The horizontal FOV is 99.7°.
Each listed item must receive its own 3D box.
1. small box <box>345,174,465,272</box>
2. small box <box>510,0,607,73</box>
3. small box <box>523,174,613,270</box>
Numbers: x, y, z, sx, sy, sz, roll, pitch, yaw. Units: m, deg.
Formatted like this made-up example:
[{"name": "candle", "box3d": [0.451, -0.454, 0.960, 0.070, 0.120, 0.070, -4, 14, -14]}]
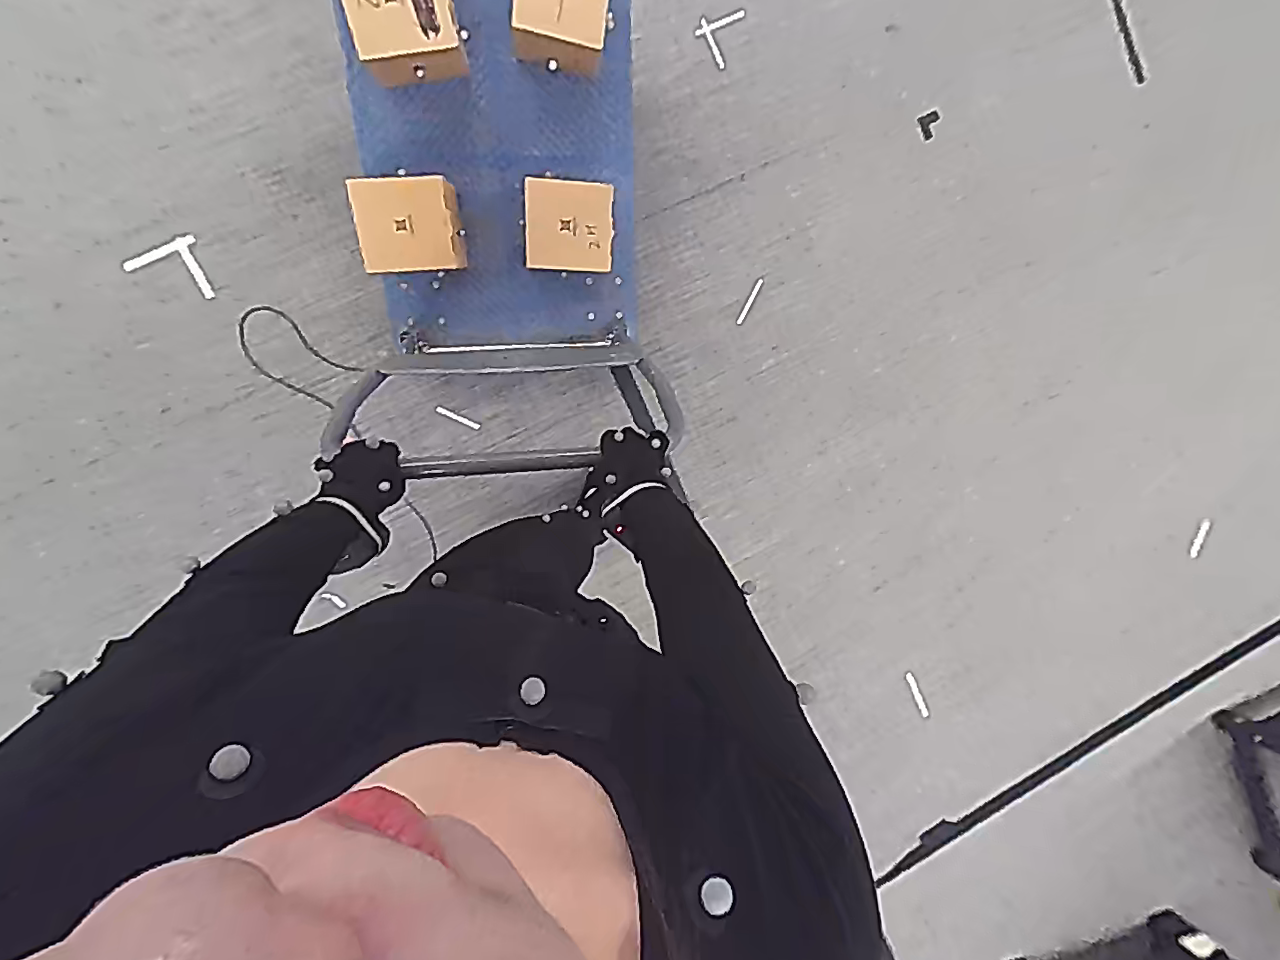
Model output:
[{"name": "small box", "box3d": [-0.469, -0.519, 1.107, 0.179, 0.176, 0.168, -8, 113, -9]}, {"name": "small box", "box3d": [-0.150, -0.906, 1.010, 0.168, 0.176, 0.179, 5, 112, -13]}, {"name": "small box", "box3d": [-0.156, -0.542, 1.156, 0.179, 0.176, 0.168, -1, 113, -10]}]
